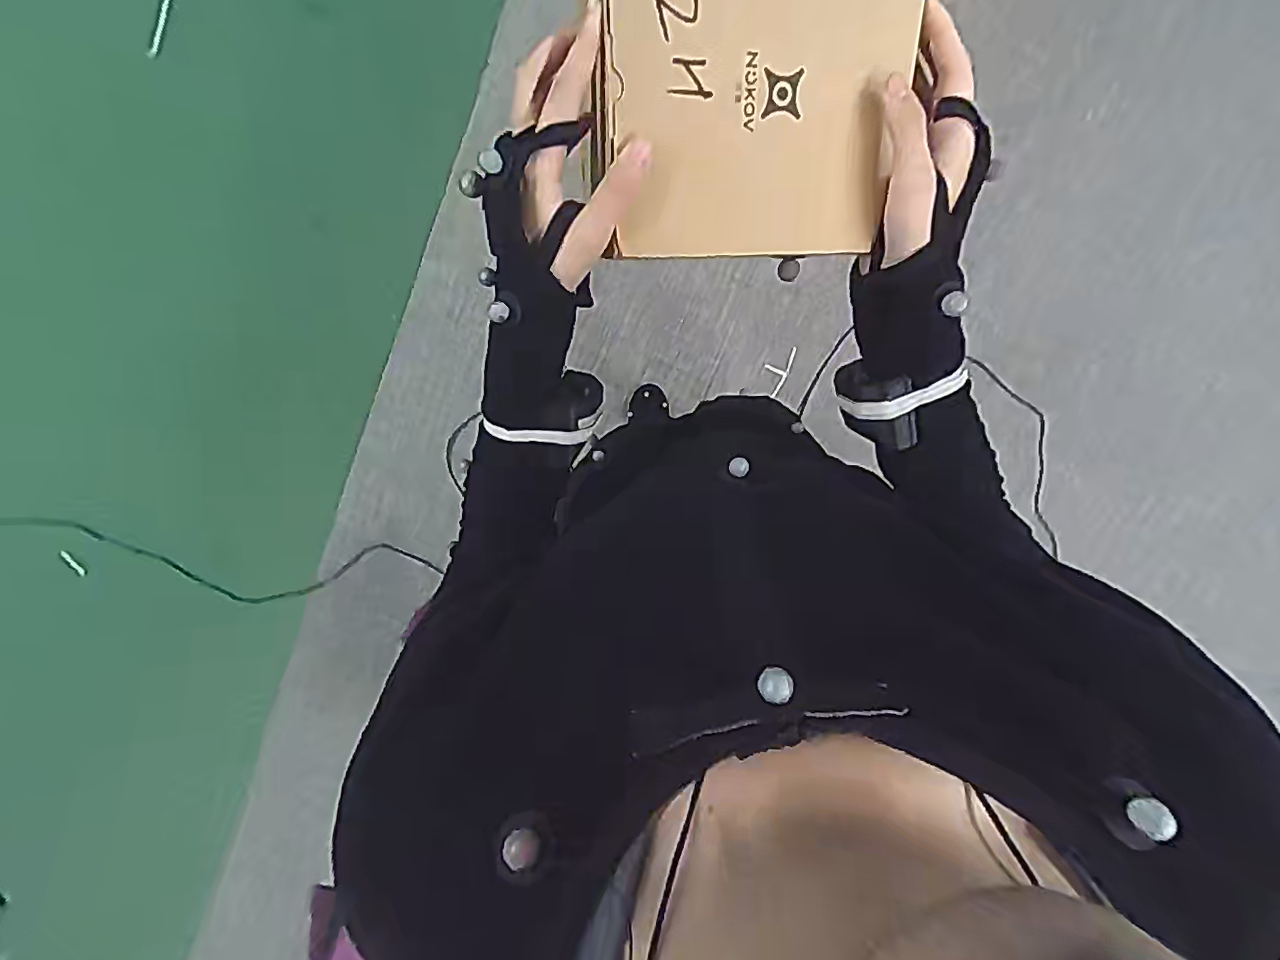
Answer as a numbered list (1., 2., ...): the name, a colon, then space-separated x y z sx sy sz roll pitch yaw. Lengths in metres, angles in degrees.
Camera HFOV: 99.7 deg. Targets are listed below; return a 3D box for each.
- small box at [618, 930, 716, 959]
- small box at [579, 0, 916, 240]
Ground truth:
1. small box: 0.030 0.844 0.822 0.179 0.176 0.168 25 100 -3
2. small box: 0.054 -0.258 0.372 0.179 0.176 0.168 -4 113 -9
